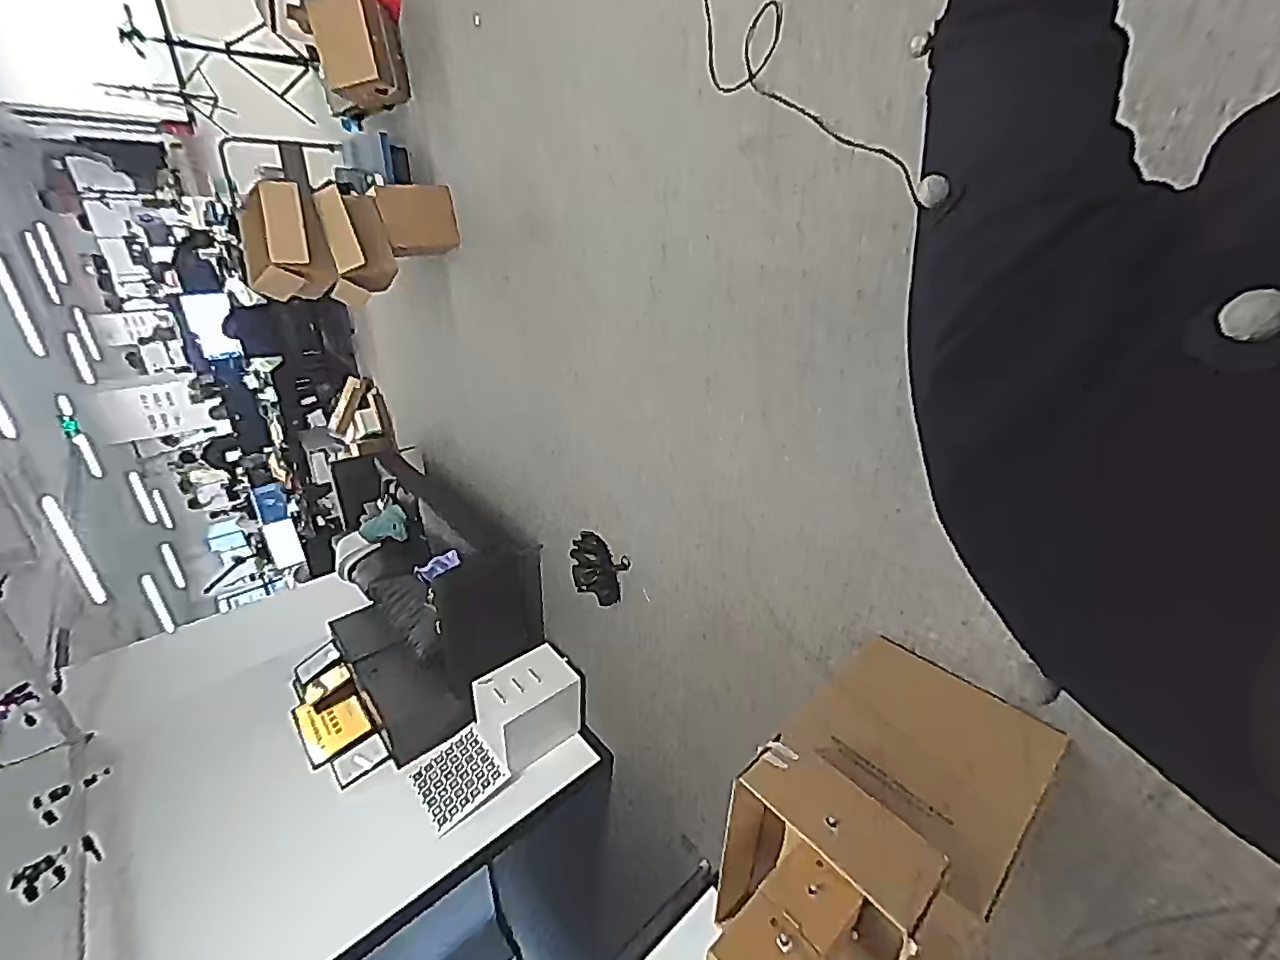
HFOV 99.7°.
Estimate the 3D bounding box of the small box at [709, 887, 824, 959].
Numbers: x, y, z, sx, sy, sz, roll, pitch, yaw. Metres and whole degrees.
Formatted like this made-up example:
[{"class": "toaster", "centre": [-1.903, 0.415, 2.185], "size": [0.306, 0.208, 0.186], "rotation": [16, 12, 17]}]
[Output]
[{"class": "small box", "centre": [0.258, 1.008, 1.113], "size": [0.168, 0.176, 0.179], "rotation": [24, 124, 43]}]
